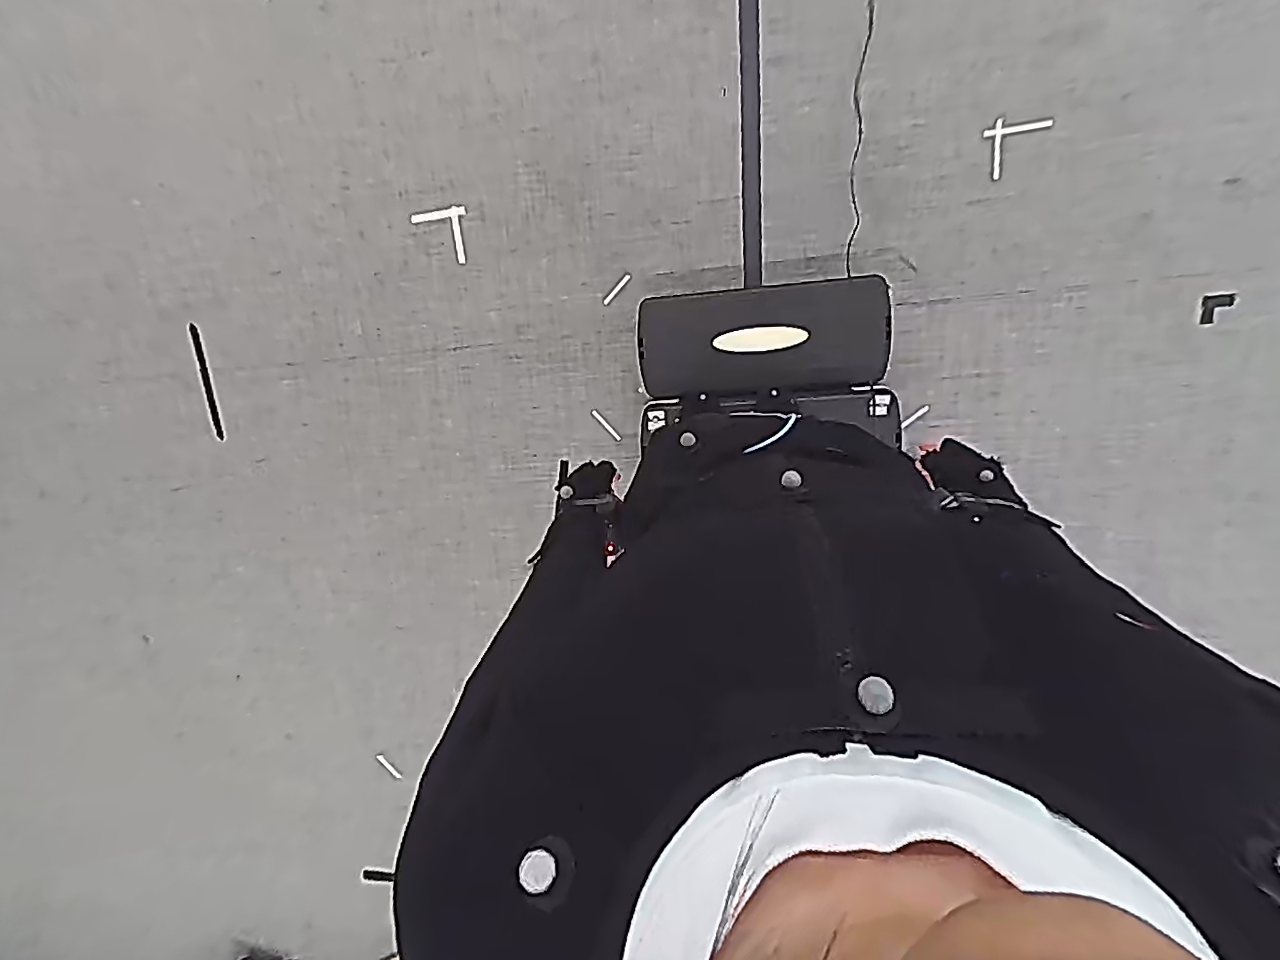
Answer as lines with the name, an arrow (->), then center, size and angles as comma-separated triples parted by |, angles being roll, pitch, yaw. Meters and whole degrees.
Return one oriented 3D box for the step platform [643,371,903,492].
step platform -> 0.349, -0.130, 1.496 | 0.684, 0.204, 0.286 | -3, 101, 11
